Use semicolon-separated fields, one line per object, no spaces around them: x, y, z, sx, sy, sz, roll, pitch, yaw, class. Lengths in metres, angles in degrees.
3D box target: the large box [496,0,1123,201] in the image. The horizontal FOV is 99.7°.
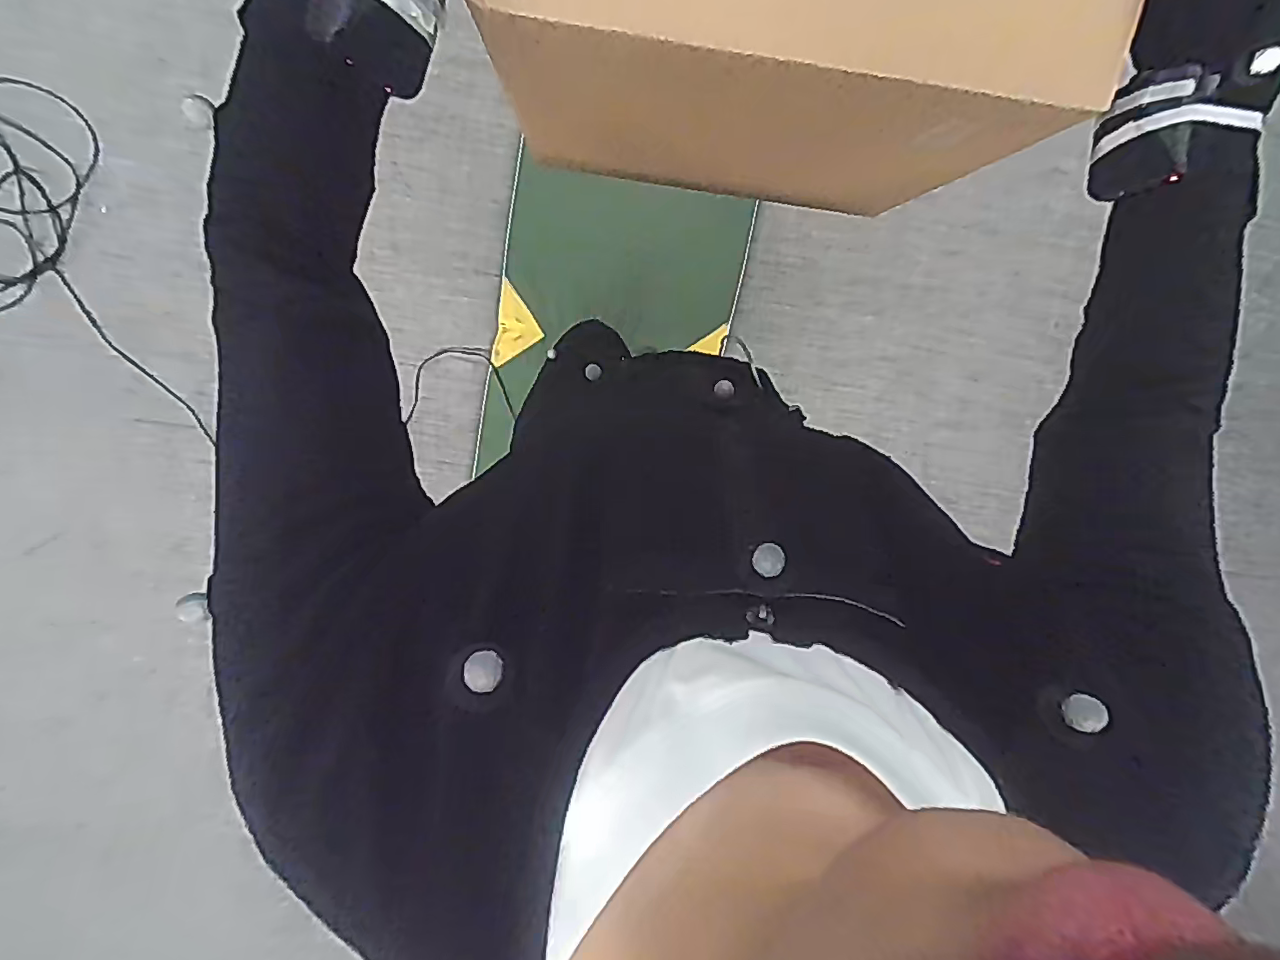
0.109;-0.453;0.446;0.408;0.320;0.320;5;105;-6;large box
